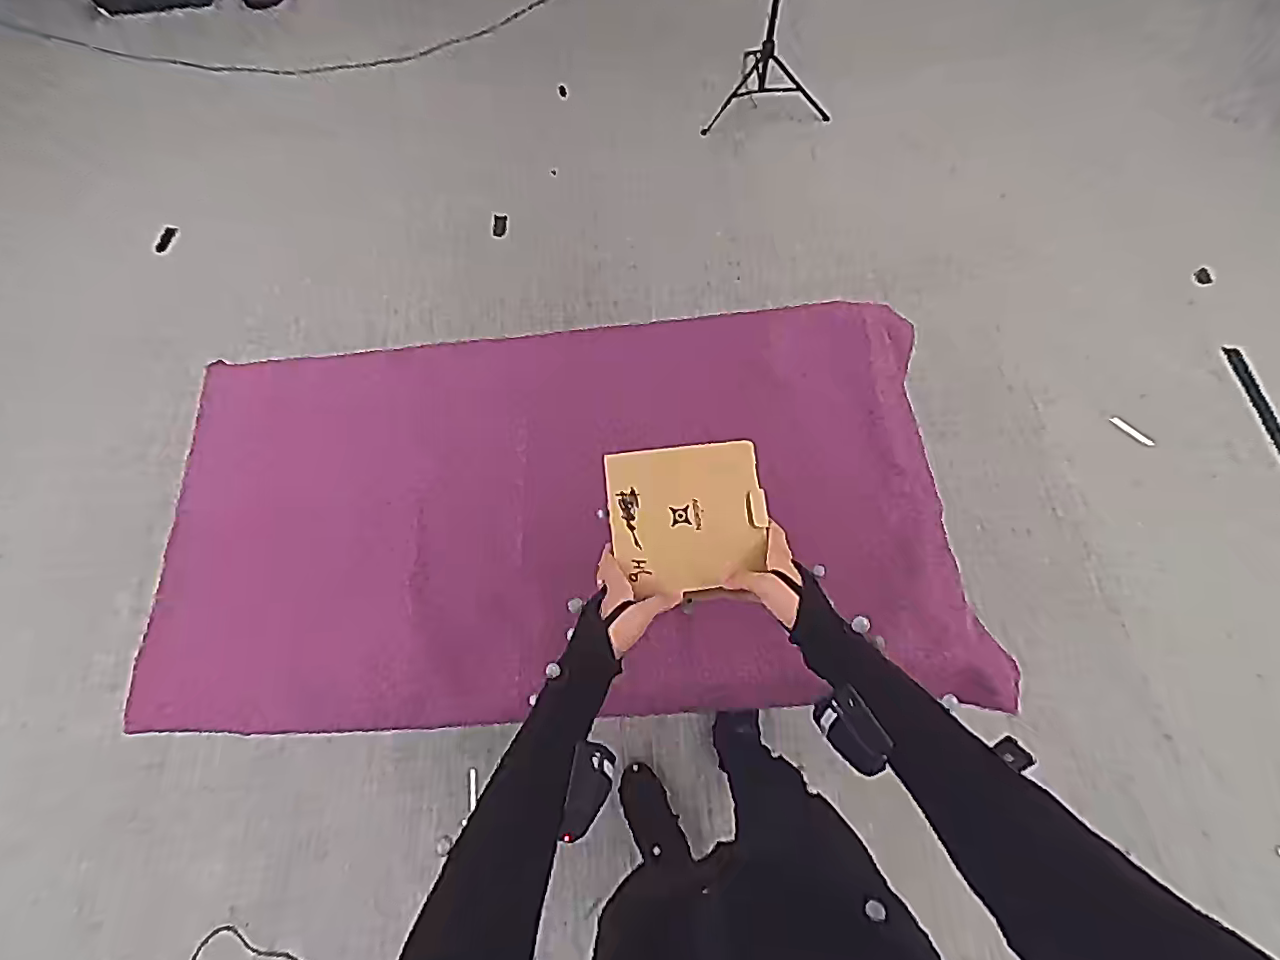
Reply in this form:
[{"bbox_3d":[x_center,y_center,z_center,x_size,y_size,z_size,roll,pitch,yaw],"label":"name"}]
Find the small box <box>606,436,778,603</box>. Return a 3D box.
[{"bbox_3d":[0.052,0.056,0.670,0.179,0.176,0.168,-6,73,-3],"label":"small box"}]
